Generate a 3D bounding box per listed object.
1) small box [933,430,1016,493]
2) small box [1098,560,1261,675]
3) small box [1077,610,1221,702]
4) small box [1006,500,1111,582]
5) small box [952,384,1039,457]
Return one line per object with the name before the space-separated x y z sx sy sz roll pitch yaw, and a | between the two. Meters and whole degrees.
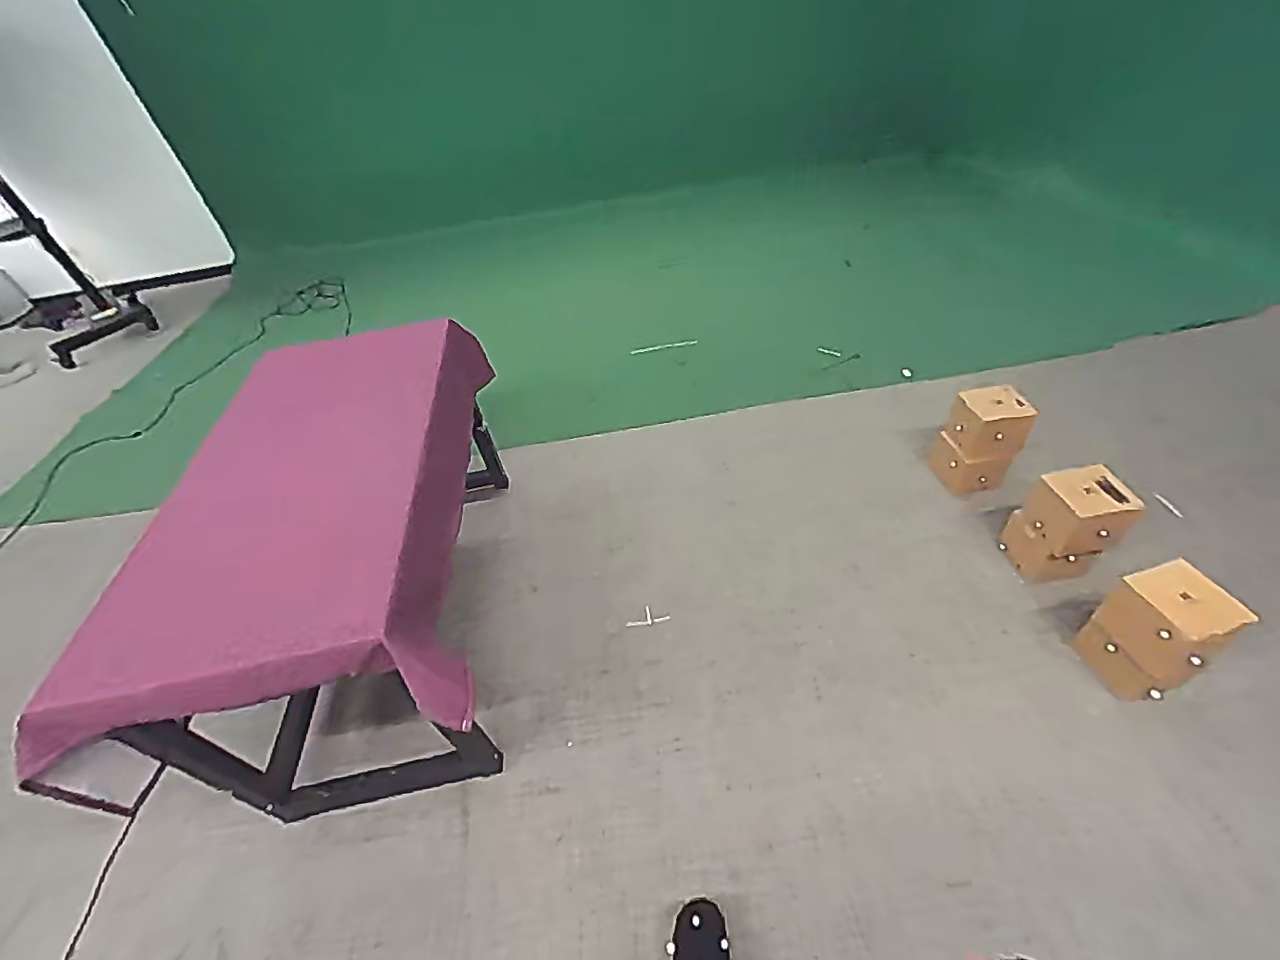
small box | 1.172 -0.070 1.909 0.168 0.176 0.179 -10 44 -1
small box | 1.233 0.319 1.256 0.168 0.176 0.179 -16 44 -5
small box | 1.271 0.430 1.369 0.168 0.176 0.179 -13 44 -1
small box | 1.241 0.188 1.626 0.179 0.176 0.168 -10 44 0
small box | 1.167 -0.192 1.797 0.179 0.176 0.168 -9 44 3
